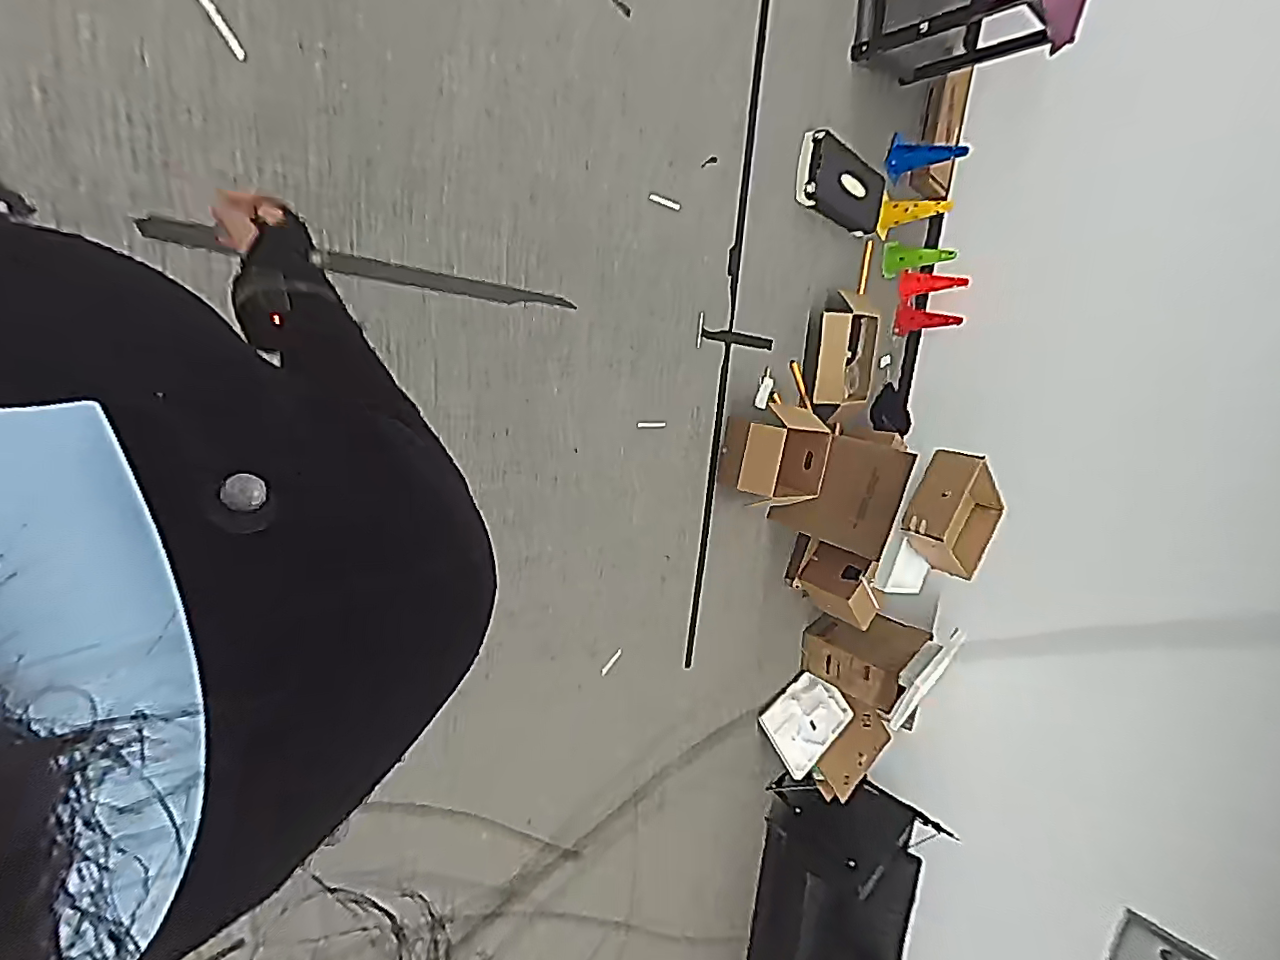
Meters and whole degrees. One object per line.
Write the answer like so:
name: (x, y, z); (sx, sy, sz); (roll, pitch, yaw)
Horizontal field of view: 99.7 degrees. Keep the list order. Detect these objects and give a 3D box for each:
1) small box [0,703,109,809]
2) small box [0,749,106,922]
small box: (-1.179, 0.579, 1.056); (0.168, 0.176, 0.179); (-22, 117, -40)
small box: (-1.062, 0.620, 0.951); (0.168, 0.176, 0.179); (-6, 106, -44)
